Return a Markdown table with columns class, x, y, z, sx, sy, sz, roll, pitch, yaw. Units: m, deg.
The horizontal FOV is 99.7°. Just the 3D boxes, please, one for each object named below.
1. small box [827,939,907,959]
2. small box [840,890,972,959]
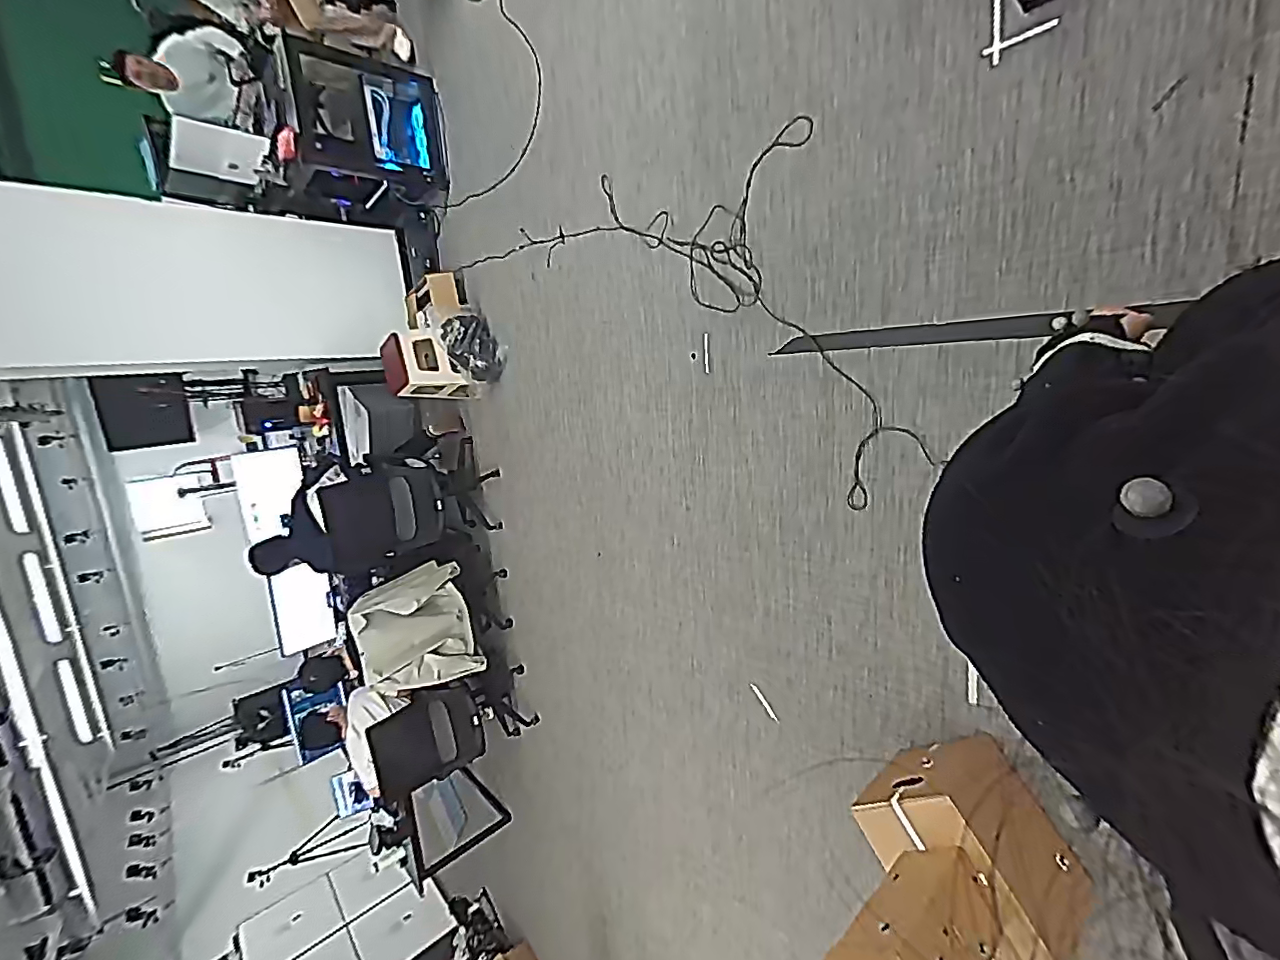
| class | x | y | z | sx | sy | sz | roll | pitch | yaw |
| --- | --- | --- | --- | --- | --- | --- | --- | --- | --- |
| small box | 0.452 | 1.041 | 1.048 | 0.168 | 0.176 | 0.179 | 60 | 139 | 17 |
| small box | 0.574 | 1.012 | 1.151 | 0.168 | 0.176 | 0.179 | 60 | 137 | 19 |
